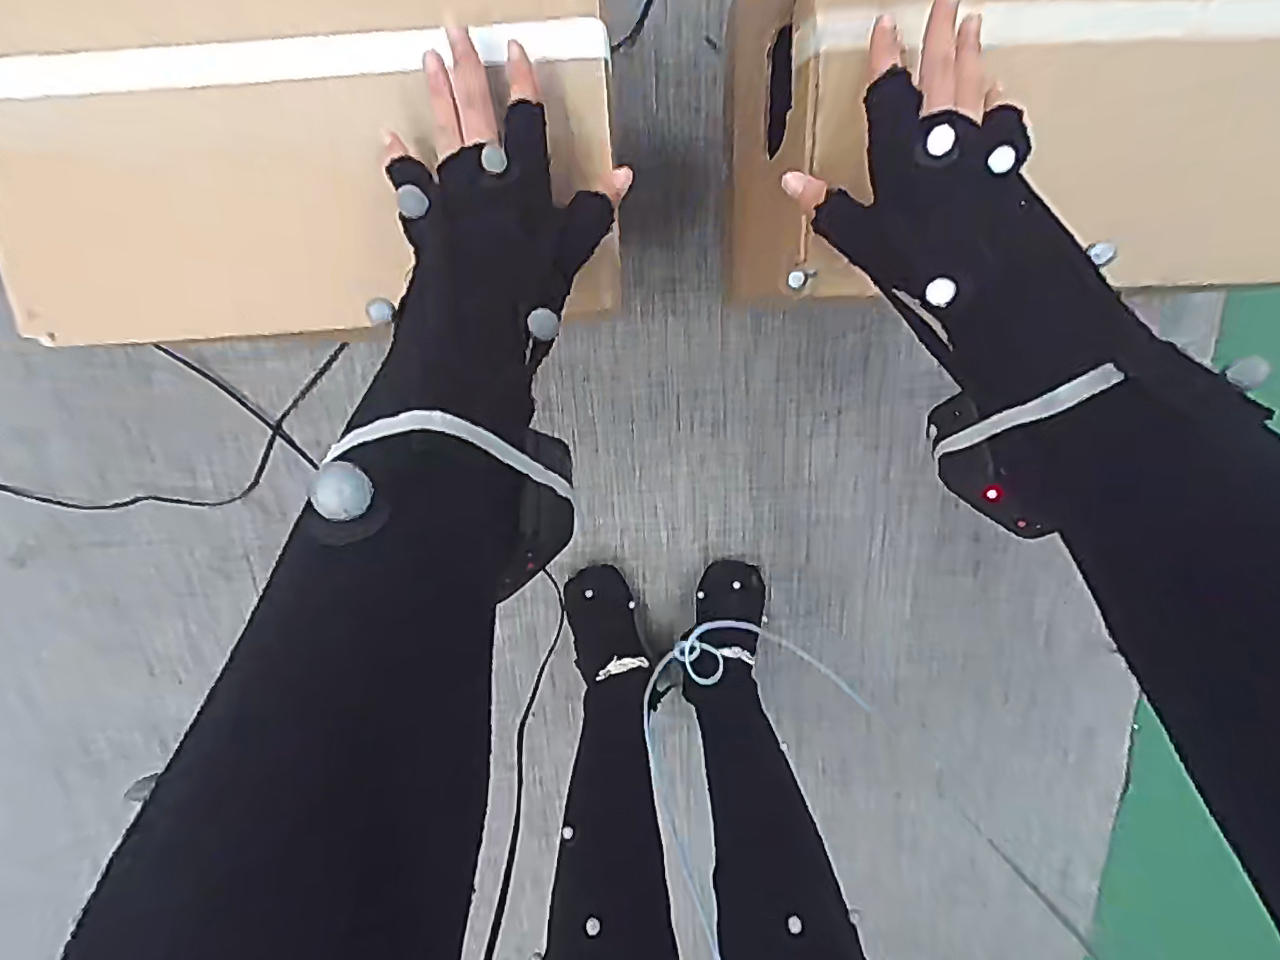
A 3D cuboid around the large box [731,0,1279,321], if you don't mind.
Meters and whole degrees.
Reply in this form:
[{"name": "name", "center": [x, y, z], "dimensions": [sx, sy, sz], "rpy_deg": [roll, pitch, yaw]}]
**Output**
[{"name": "large box", "center": [0.315, -0.320, 0.520], "dimensions": [0.408, 0.320, 0.320], "rpy_deg": [-1, 105, -1]}]
